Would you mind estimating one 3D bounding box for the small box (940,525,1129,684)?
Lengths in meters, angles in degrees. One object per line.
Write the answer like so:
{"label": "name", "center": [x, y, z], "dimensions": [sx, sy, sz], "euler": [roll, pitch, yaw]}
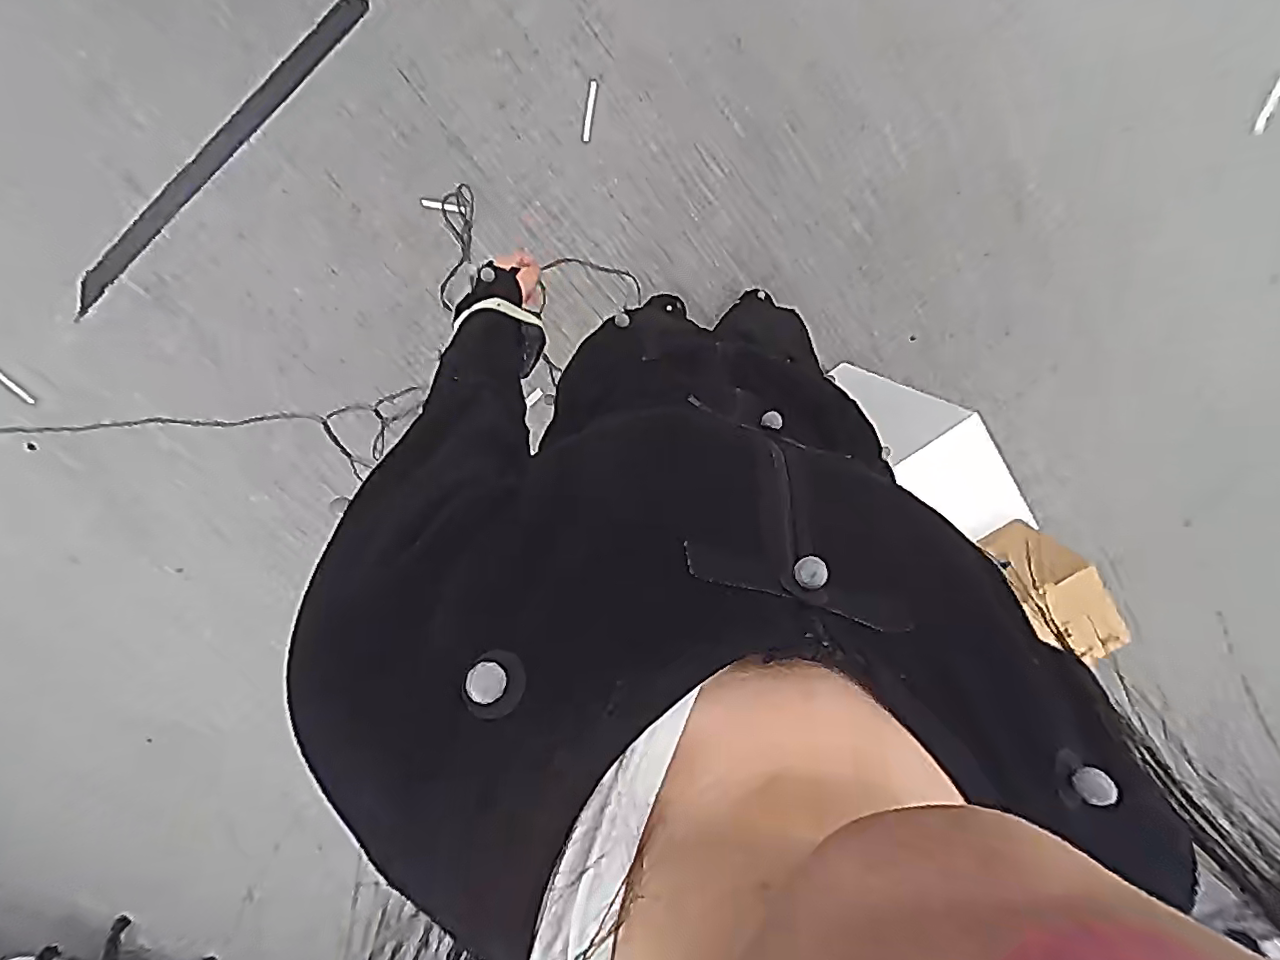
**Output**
{"label": "small box", "center": [0.651, 0.197, 0.915], "dimensions": [0.168, 0.176, 0.179], "euler": [-35, 106, 12]}
